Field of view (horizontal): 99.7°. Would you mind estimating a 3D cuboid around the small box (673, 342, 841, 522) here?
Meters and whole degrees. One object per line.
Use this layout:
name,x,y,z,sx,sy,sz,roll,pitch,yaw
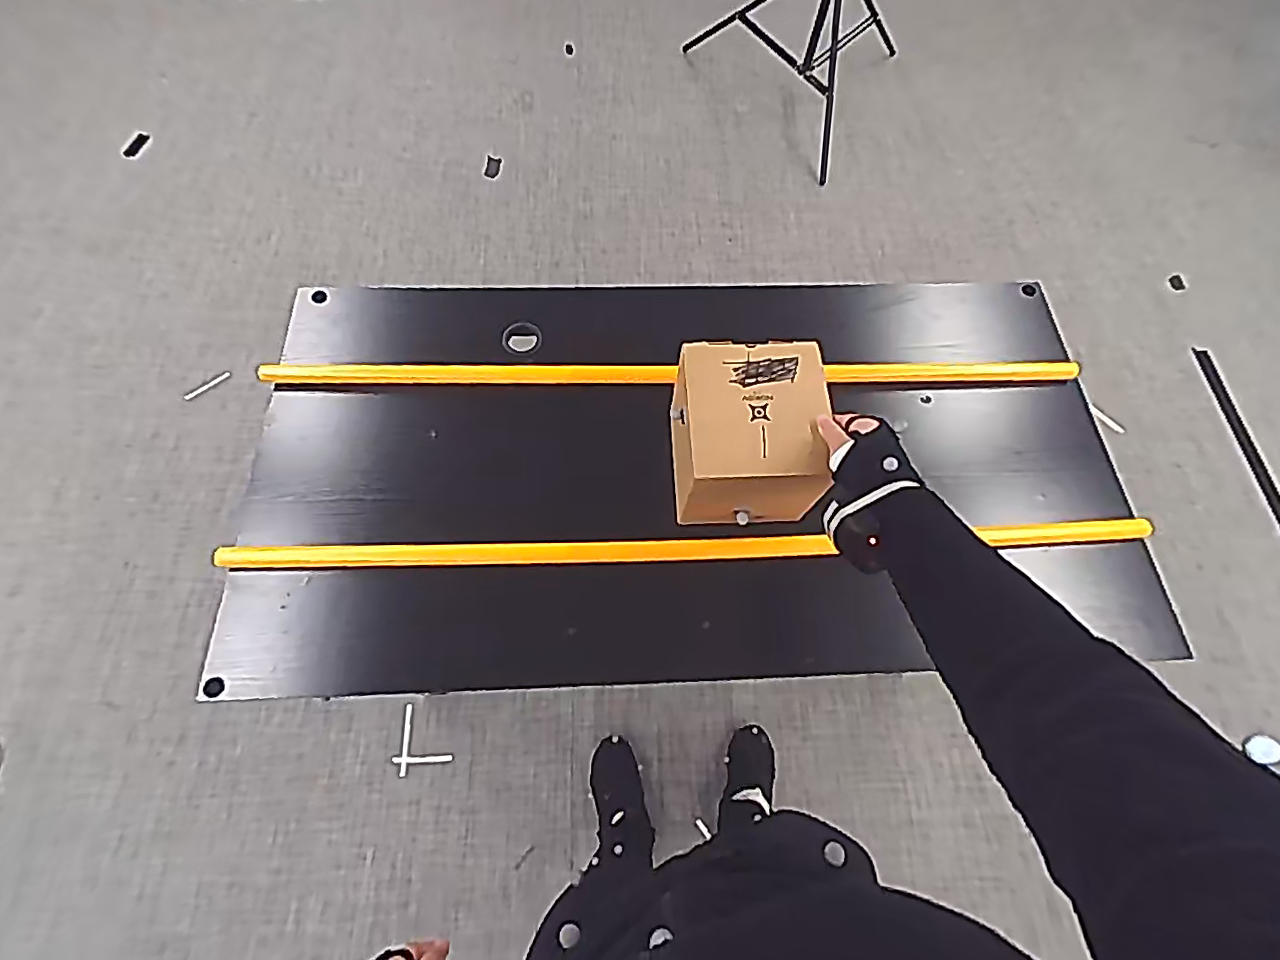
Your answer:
small box,0.134,-0.055,0.690,0.168,0.176,0.179,-1,69,-2
